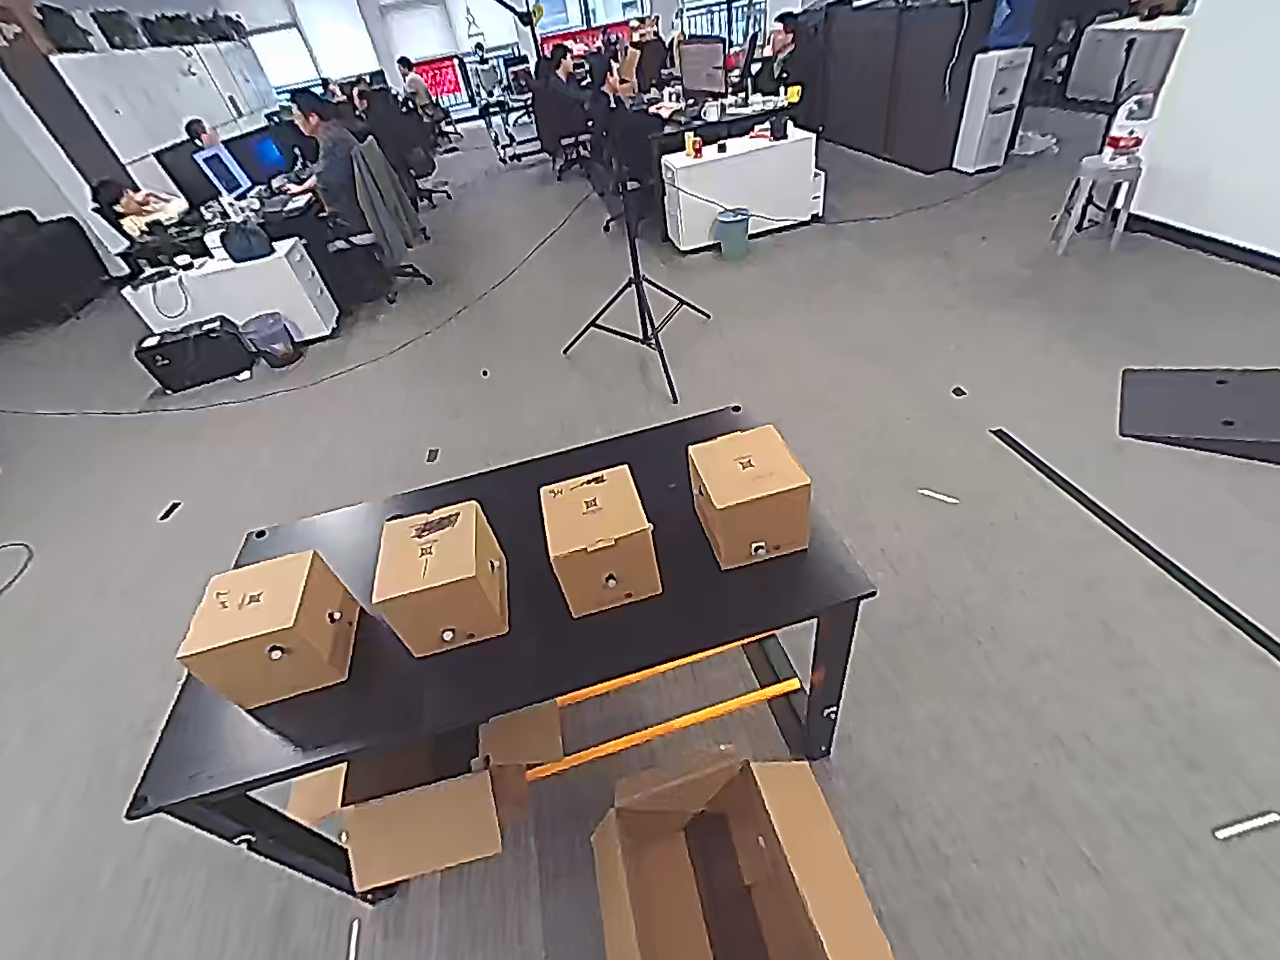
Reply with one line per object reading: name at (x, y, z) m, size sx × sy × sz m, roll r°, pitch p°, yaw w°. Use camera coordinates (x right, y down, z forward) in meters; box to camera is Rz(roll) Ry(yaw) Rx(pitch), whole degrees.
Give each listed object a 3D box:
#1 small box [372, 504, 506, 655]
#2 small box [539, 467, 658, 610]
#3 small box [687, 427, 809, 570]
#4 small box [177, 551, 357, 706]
small box at (-0.341, 0.175, 0.952) m, size 0.168 × 0.176 × 0.179 m, roll -15°, pitch 42°, yaw -4°
small box at (-0.073, 0.110, 0.967) m, size 0.168 × 0.176 × 0.179 m, roll -15°, pitch 42°, yaw -4°
small box at (0.193, 0.034, 0.992) m, size 0.168 × 0.176 × 0.179 m, roll -16°, pitch 42°, yaw -3°
small box at (-0.613, 0.254, 0.922) m, size 0.179 × 0.176 × 0.168 m, roll -15°, pitch 41°, yaw -5°
